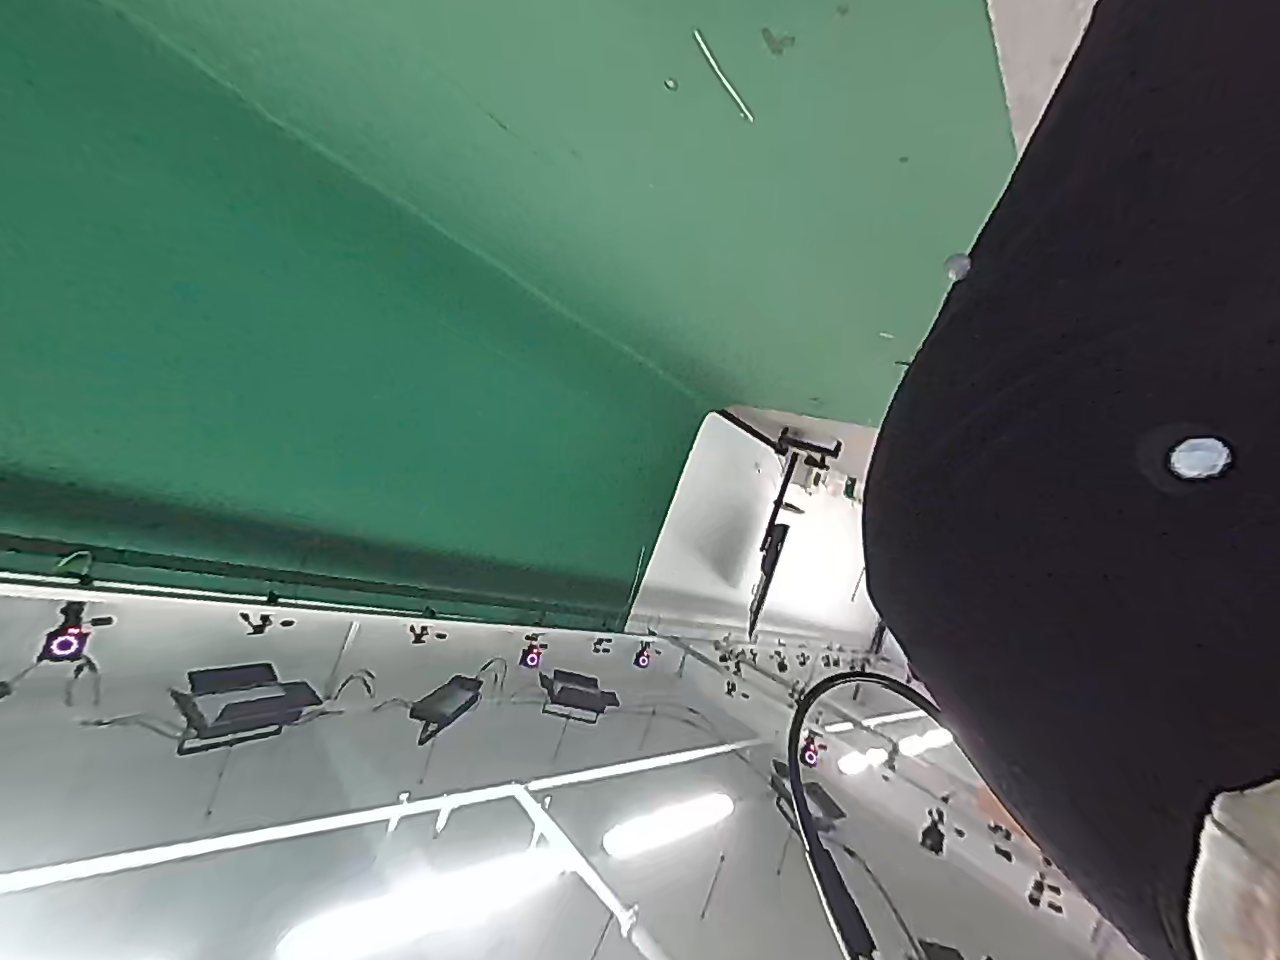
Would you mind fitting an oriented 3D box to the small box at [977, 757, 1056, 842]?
[{"bbox_3d":[1.269,1.060,1.815,0.179,0.176,0.168,19,179,45],"label":"small box"}]
